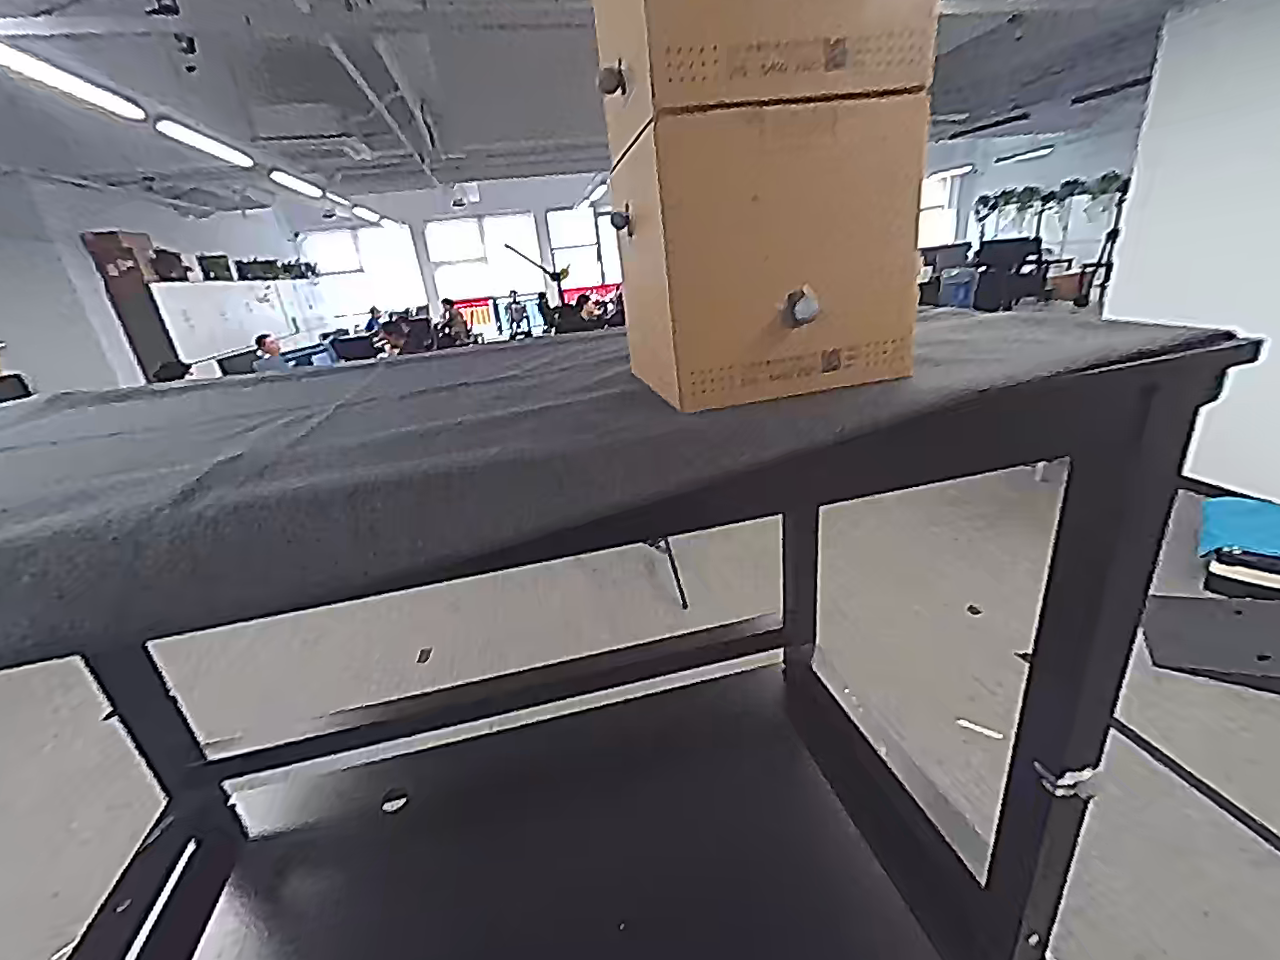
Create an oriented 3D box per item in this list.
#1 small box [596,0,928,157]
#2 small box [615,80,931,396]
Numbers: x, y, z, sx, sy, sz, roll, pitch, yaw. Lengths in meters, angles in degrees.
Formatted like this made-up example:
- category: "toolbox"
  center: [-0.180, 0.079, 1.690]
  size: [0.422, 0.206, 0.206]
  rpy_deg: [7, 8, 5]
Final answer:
- category: "small box"
  center: [0.064, -0.318, 0.345]
  size: [0.168, 0.176, 0.179]
  rpy_deg: [-10, 22, -7]
- category: "small box"
  center: [0.082, -0.165, 0.404]
  size: [0.168, 0.176, 0.179]
  rpy_deg: [-11, 22, -8]
